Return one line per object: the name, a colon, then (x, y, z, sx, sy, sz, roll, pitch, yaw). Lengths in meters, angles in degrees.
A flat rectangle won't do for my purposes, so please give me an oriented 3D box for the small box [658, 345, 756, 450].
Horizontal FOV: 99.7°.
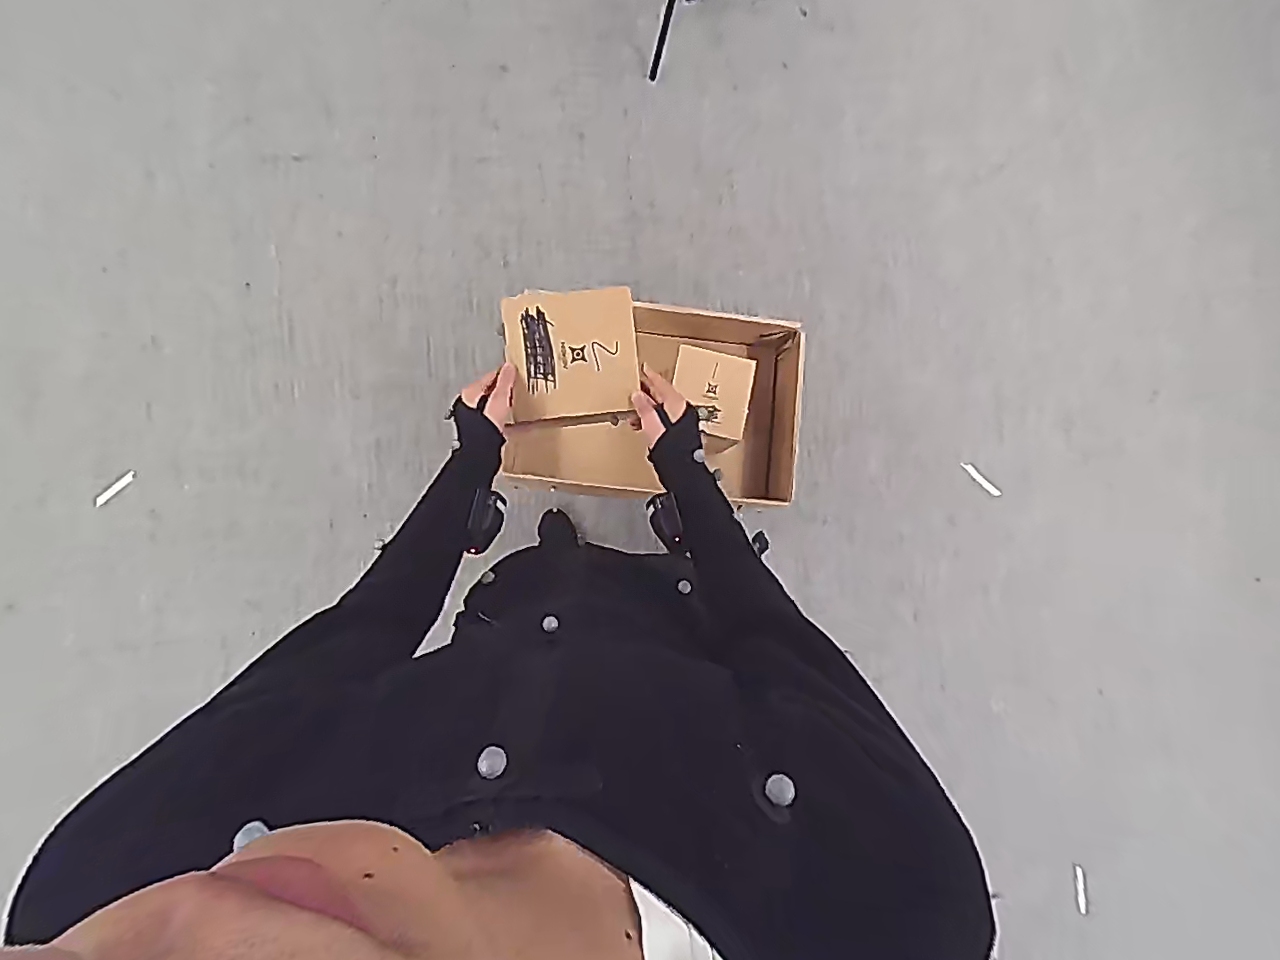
small box: (0.139, -0.171, 1.184, 0.168, 0.176, 0.179, 13, 84, -4)
